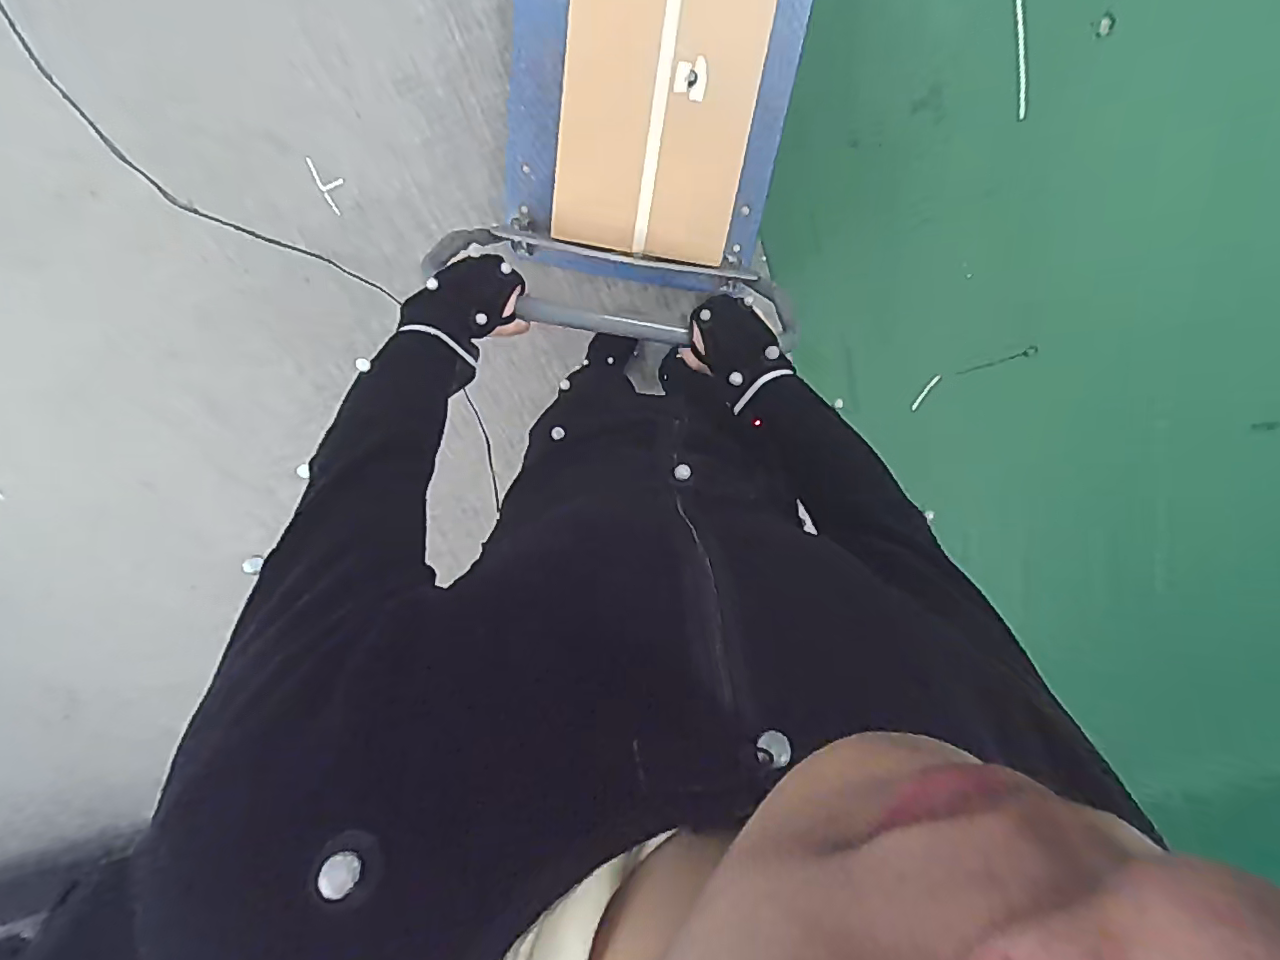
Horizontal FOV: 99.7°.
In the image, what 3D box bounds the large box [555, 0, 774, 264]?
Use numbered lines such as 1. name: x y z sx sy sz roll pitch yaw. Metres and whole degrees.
1. large box: 0.028 -0.649 1.027 0.320 0.320 0.408 8 115 -4
